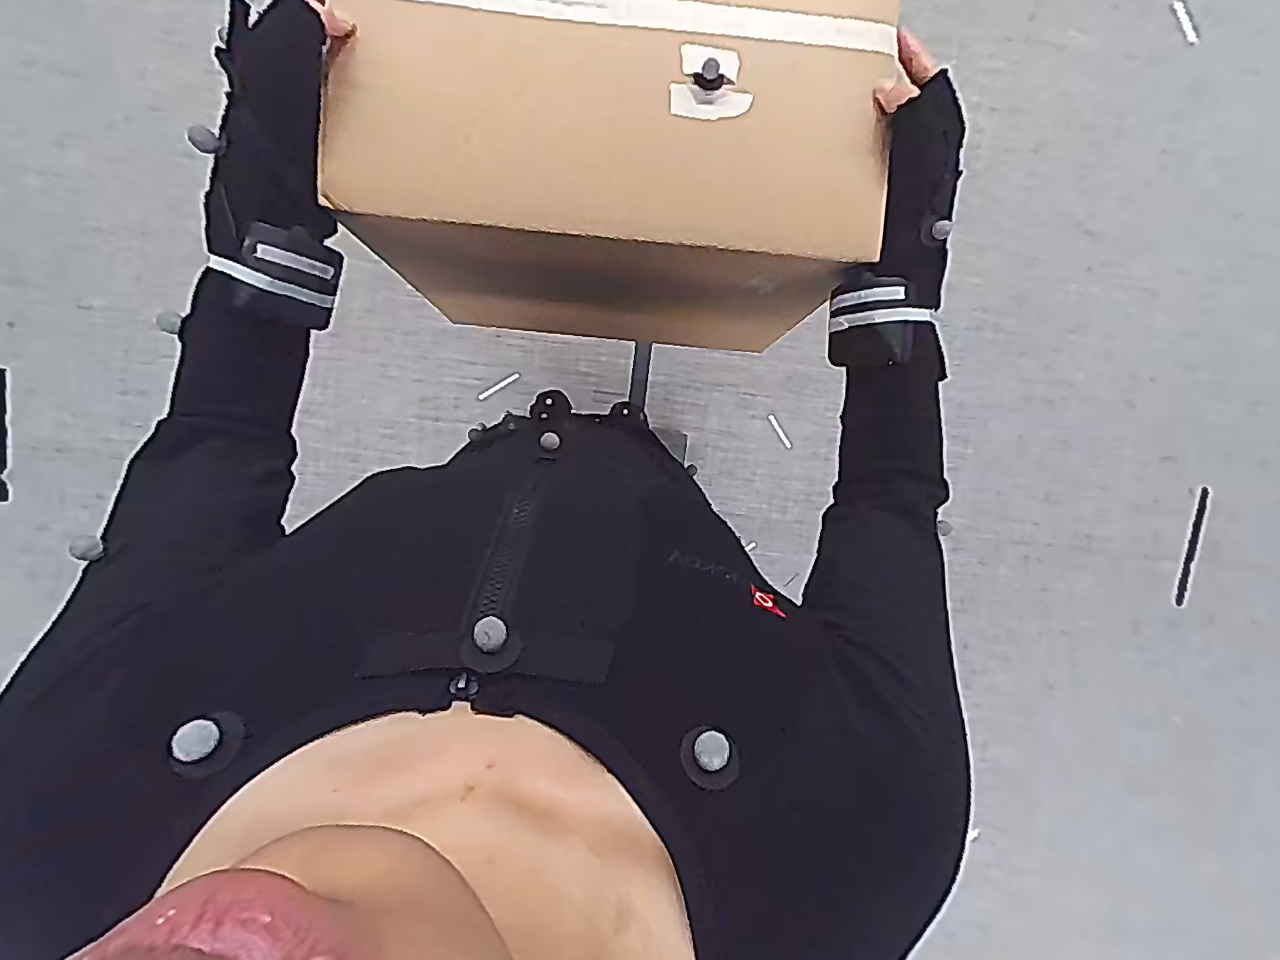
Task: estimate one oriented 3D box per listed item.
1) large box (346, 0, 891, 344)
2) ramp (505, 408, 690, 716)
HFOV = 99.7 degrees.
[{"bbox_3d":[-0.019,-0.339,0.551,0.408,0.320,0.320,4,91,-3],"label":"large box"},{"bbox_3d":[-0.150,0.294,1.626,0.509,0.206,0.991,4,99,-3],"label":"ramp"}]
